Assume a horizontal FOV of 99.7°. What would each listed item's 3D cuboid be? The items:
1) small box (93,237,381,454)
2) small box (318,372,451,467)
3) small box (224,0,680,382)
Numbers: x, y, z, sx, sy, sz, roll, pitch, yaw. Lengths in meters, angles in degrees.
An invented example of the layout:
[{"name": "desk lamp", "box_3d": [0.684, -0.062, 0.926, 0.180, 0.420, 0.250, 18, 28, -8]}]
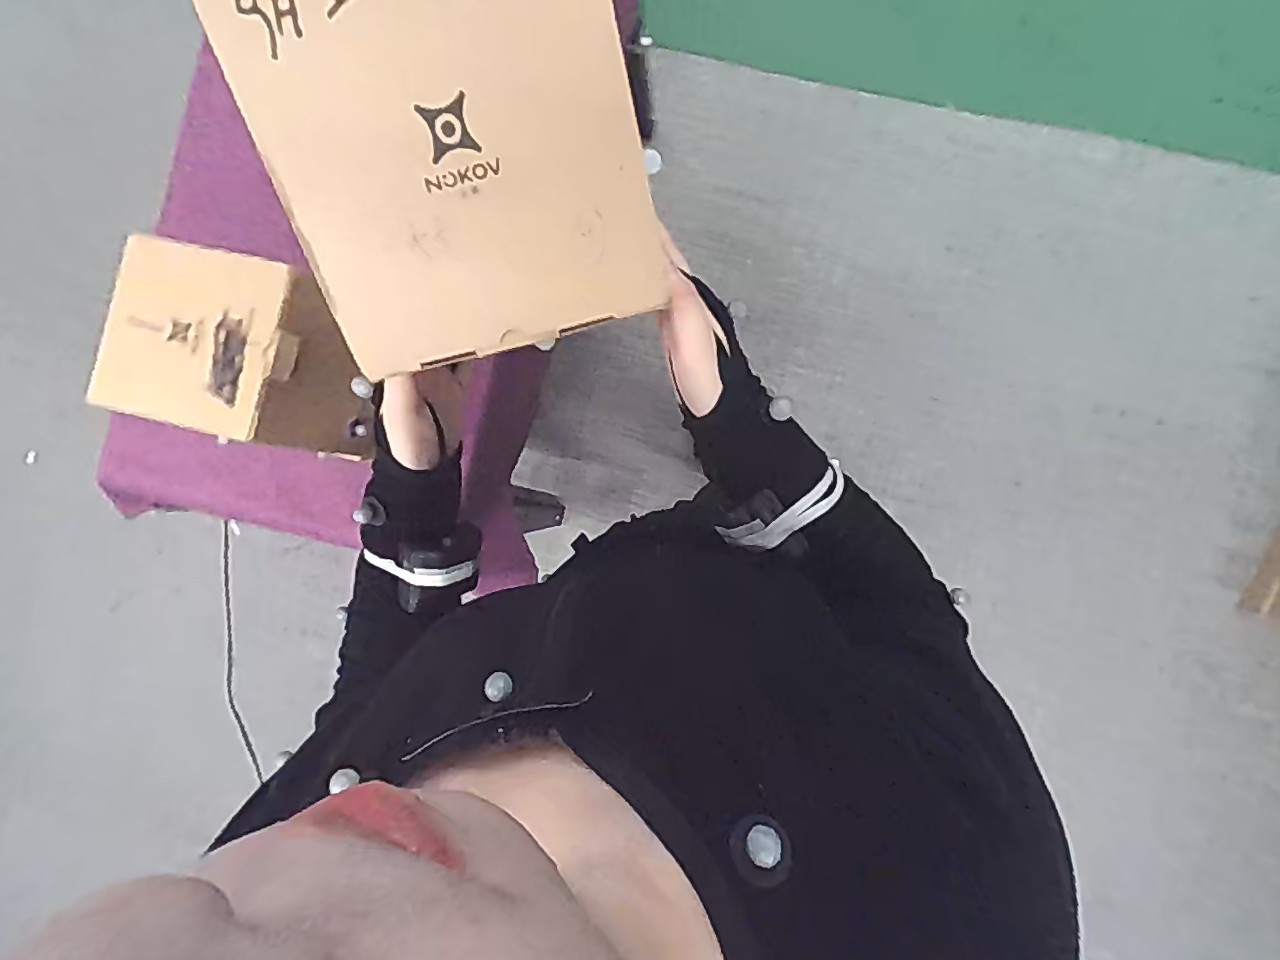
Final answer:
[{"name": "small box", "box_3d": [-0.401, -0.127, 0.576, 0.179, 0.176, 0.168, 13, 89, 8]}, {"name": "small box", "box_3d": [-0.383, -0.120, 0.739, 0.168, 0.176, 0.179, 13, 89, 6]}, {"name": "small box", "box_3d": [-0.076, -0.176, 0.319, 0.168, 0.176, 0.179, -12, 114, 3]}]
